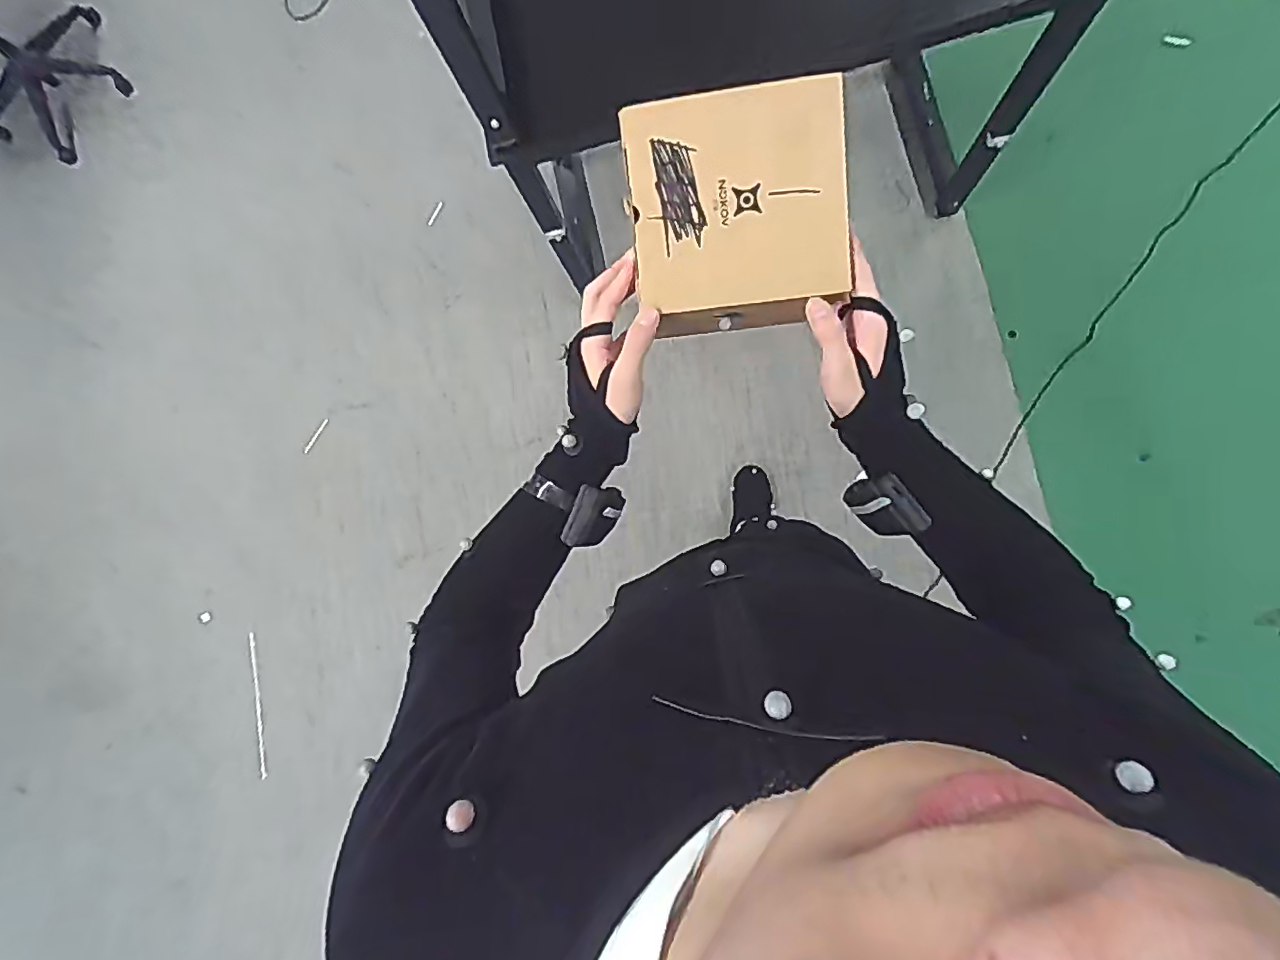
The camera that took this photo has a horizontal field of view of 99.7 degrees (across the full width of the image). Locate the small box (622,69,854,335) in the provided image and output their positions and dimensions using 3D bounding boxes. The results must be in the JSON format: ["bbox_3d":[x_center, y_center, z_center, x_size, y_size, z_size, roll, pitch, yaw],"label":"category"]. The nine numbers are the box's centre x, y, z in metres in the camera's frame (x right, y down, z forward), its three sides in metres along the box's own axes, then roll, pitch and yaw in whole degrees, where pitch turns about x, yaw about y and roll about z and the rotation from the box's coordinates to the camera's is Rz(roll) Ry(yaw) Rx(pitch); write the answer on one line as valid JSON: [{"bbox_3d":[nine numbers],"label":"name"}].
[{"bbox_3d":[0.087,-0.237,0.510,0.179,0.176,0.168,-5,98,7],"label":"small box"}]
